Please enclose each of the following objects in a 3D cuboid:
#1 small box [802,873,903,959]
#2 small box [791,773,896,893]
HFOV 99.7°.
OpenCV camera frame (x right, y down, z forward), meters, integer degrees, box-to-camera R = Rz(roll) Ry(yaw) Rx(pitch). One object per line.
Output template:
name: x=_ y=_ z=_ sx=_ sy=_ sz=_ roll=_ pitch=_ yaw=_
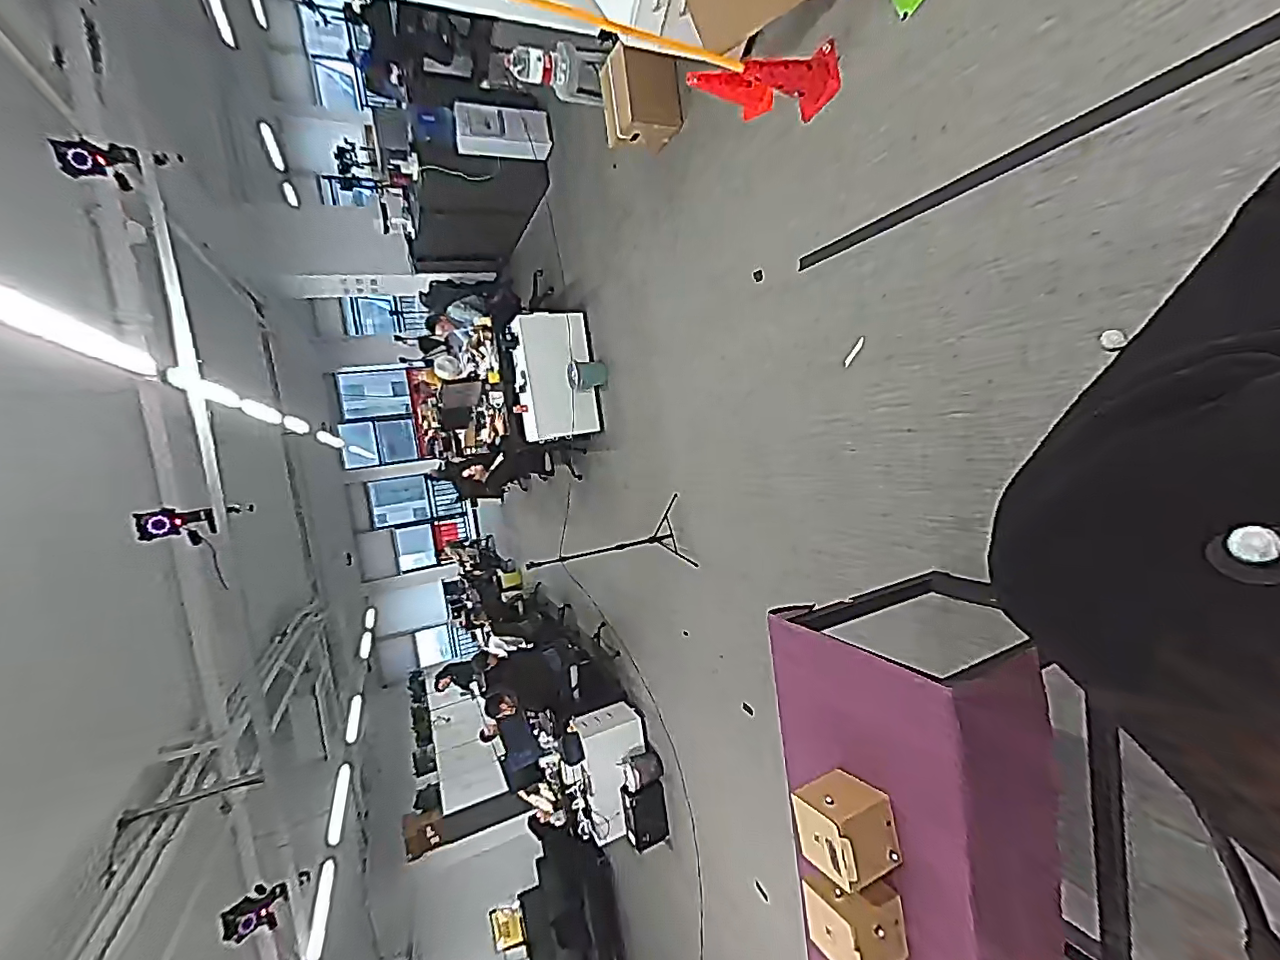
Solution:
small box: x=0.547 y=1.119 z=1.381 sx=0.179 sy=0.176 sz=0.168 roll=178 pitch=83 yaw=-67
small box: x=0.513 y=0.869 z=1.354 sx=0.179 sy=0.176 sz=0.168 roll=164 pitch=96 yaw=-67
